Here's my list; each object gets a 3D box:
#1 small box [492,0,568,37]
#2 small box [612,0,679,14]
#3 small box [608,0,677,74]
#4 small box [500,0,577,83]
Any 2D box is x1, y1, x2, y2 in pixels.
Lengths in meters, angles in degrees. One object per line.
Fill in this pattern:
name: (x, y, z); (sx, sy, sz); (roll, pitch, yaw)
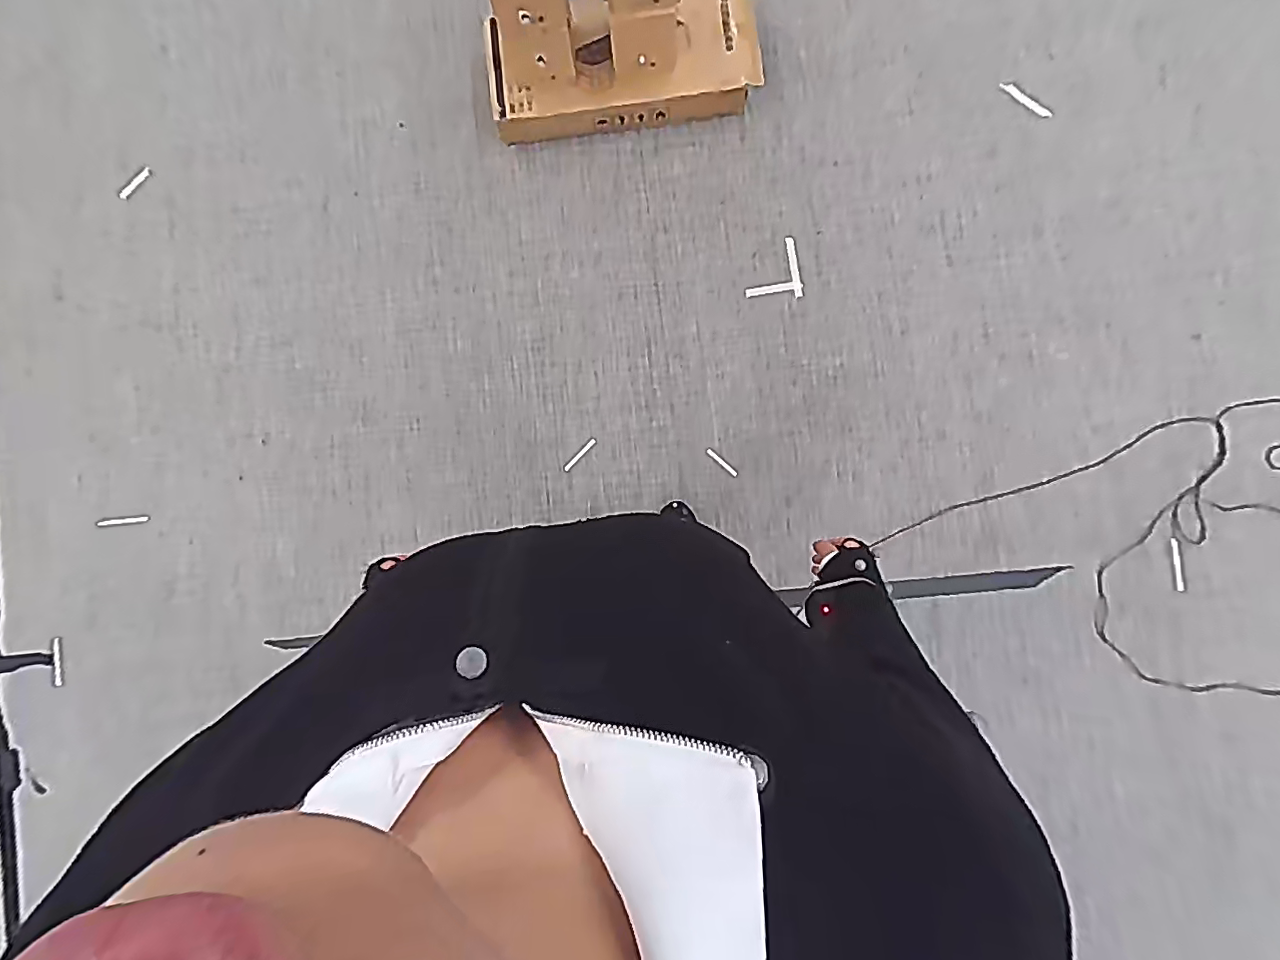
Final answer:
small box: (-0.271, -1.174, 1.232); (0.168, 0.176, 0.179); (-12, 87, 3)
small box: (0.003, -1.217, 1.221); (0.168, 0.176, 0.179); (-7, 86, 3)
small box: (0.007, -1.193, 1.386); (0.168, 0.176, 0.179); (-3, 87, 3)
small box: (-0.260, -1.165, 1.396); (0.168, 0.176, 0.179); (-5, 87, 3)
